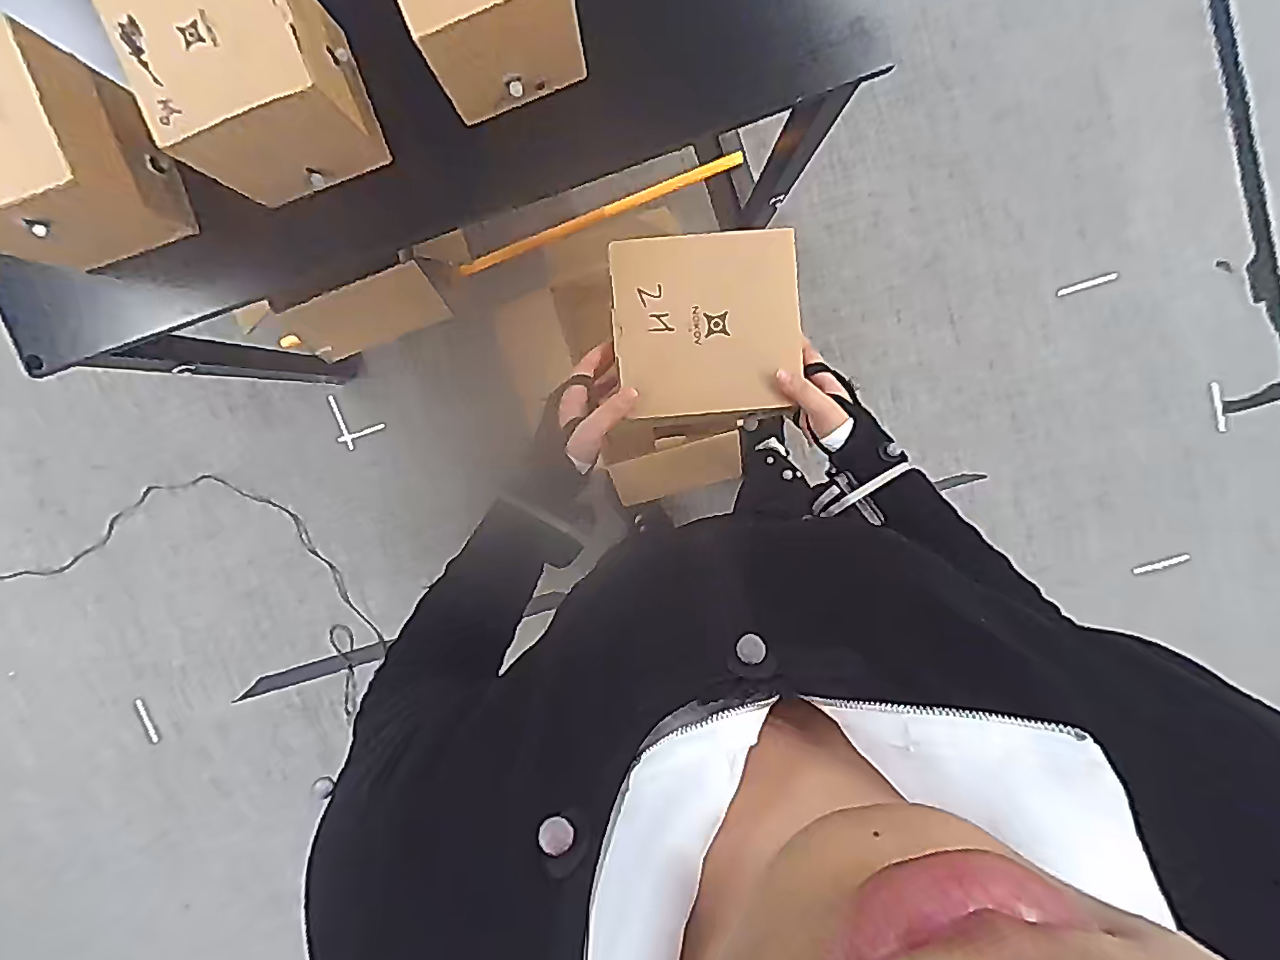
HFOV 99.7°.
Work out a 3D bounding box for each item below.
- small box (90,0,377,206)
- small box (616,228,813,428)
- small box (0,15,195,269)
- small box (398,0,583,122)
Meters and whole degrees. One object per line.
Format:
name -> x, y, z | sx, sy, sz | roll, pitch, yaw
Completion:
small box -> -0.424, -0.439, 0.600 | 0.179, 0.176, 0.168 | -20, 97, 2
small box -> 0.067, -0.148, 0.577 | 0.179, 0.176, 0.168 | -5, 91, -1
small box -> -0.674, -0.359, 0.612 | 0.179, 0.176, 0.168 | -18, 98, 2
small box -> -0.172, -0.541, 0.585 | 0.168, 0.176, 0.179 | -20, 97, 3
